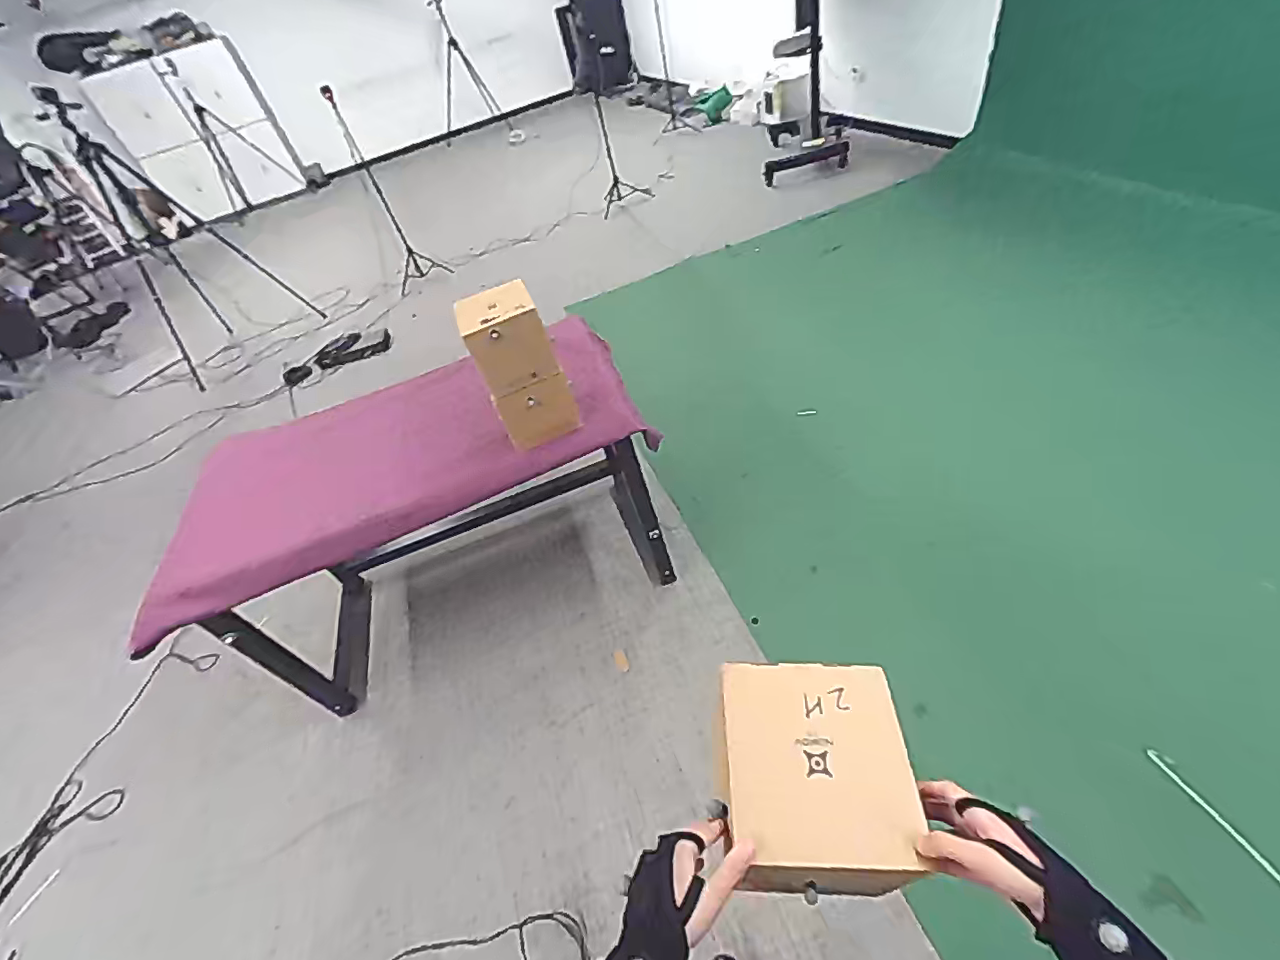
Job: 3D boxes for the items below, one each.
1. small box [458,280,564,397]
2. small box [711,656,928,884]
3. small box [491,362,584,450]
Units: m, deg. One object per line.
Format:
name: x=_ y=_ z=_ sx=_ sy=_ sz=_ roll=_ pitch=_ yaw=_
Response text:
small box: x=-0.291 y=-0.319 z=1.227 sx=0.168 sy=0.176 sz=0.179 roll=-25 pitch=44 yaw=-3
small box: x=0.164 y=0.302 z=0.561 sx=0.168 sy=0.176 sz=0.179 roll=-1 pitch=46 yaw=3
small box: x=-0.252 y=-0.206 z=1.339 sx=0.179 sy=0.176 sz=0.168 roll=-25 pitch=45 yaw=-4
